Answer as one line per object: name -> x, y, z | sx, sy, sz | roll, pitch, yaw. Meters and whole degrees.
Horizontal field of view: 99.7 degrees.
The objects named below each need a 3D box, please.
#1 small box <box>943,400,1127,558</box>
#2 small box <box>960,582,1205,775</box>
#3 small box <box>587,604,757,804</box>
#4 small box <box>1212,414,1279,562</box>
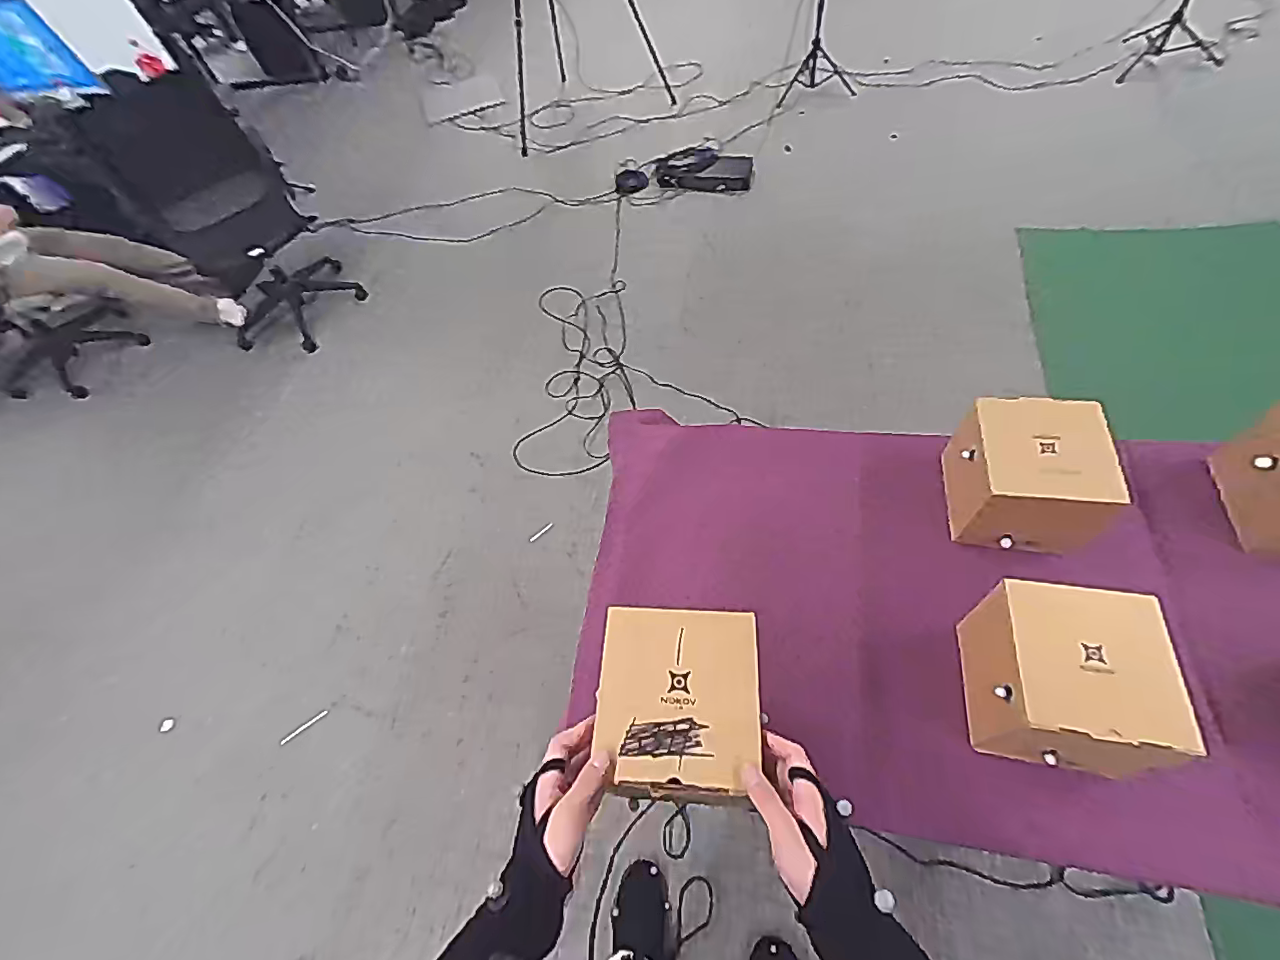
small box -> 0.586, 0.000, 0.833 | 0.168, 0.176, 0.179 | 5, 60, 13
small box -> 0.525, 0.251, 0.678 | 0.168, 0.176, 0.179 | 6, 58, 12
small box -> 0.046, 0.260, 0.619 | 0.168, 0.176, 0.179 | 2, 55, 7
small box -> 0.977, 0.008, 0.759 | 0.168, 0.176, 0.179 | 3, 59, 14
